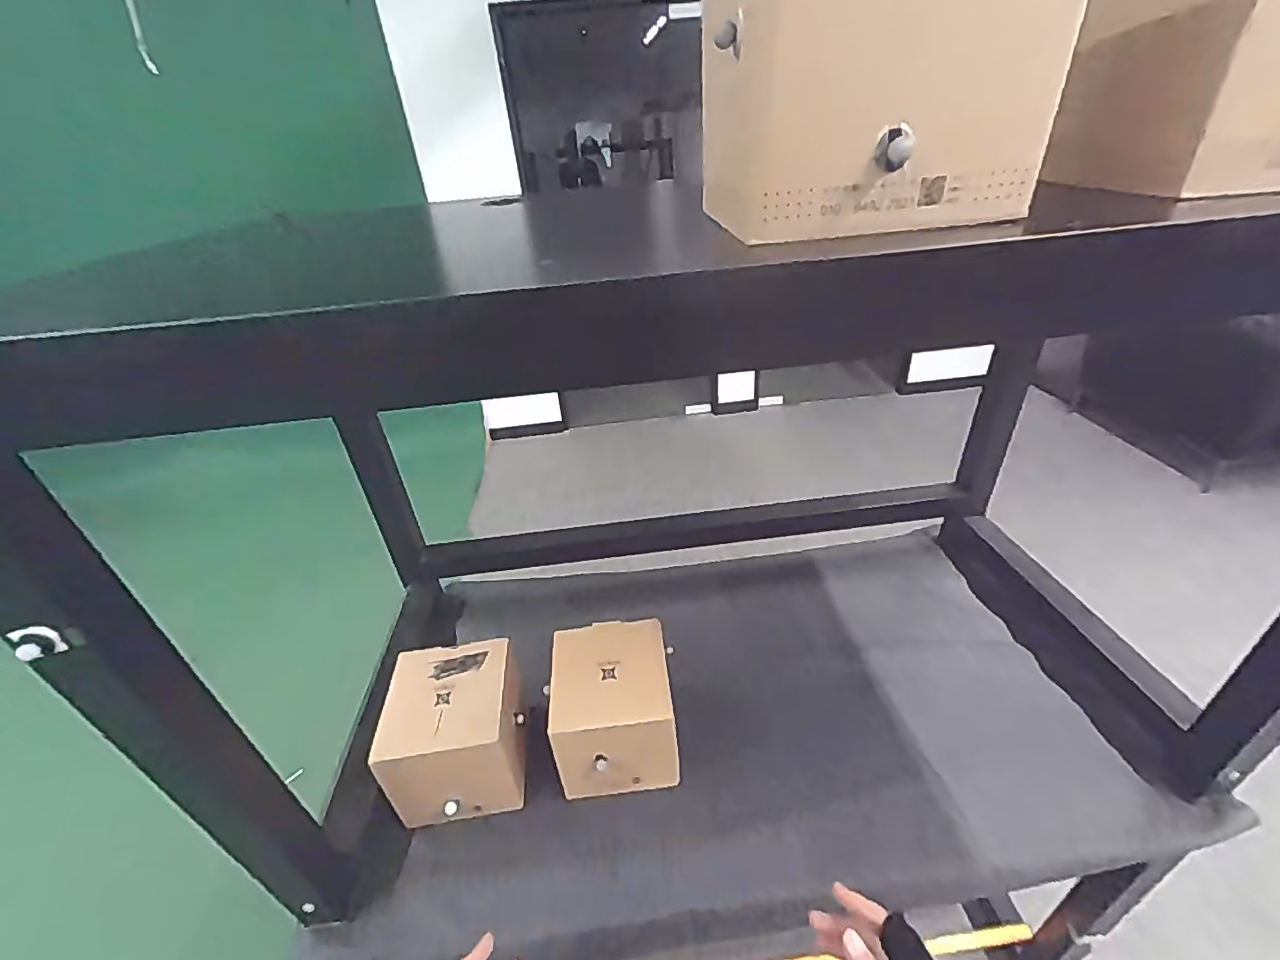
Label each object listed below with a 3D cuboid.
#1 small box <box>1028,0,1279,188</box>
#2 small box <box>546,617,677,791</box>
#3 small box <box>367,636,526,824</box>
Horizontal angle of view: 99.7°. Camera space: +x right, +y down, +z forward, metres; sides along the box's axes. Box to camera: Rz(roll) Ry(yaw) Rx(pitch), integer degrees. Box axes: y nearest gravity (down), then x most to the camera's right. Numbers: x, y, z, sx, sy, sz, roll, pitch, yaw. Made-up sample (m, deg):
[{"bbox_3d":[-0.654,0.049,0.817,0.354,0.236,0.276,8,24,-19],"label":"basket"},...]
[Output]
[{"bbox_3d":[0.404,-0.294,0.355,0.168,0.176,0.179,-1,32,5],"label":"small box"},{"bbox_3d":[-0.040,0.334,0.803,0.168,0.176,0.179,-6,31,-2],"label":"small box"},{"bbox_3d":[-0.265,0.360,0.789,0.168,0.176,0.179,-8,32,-4],"label":"small box"}]
